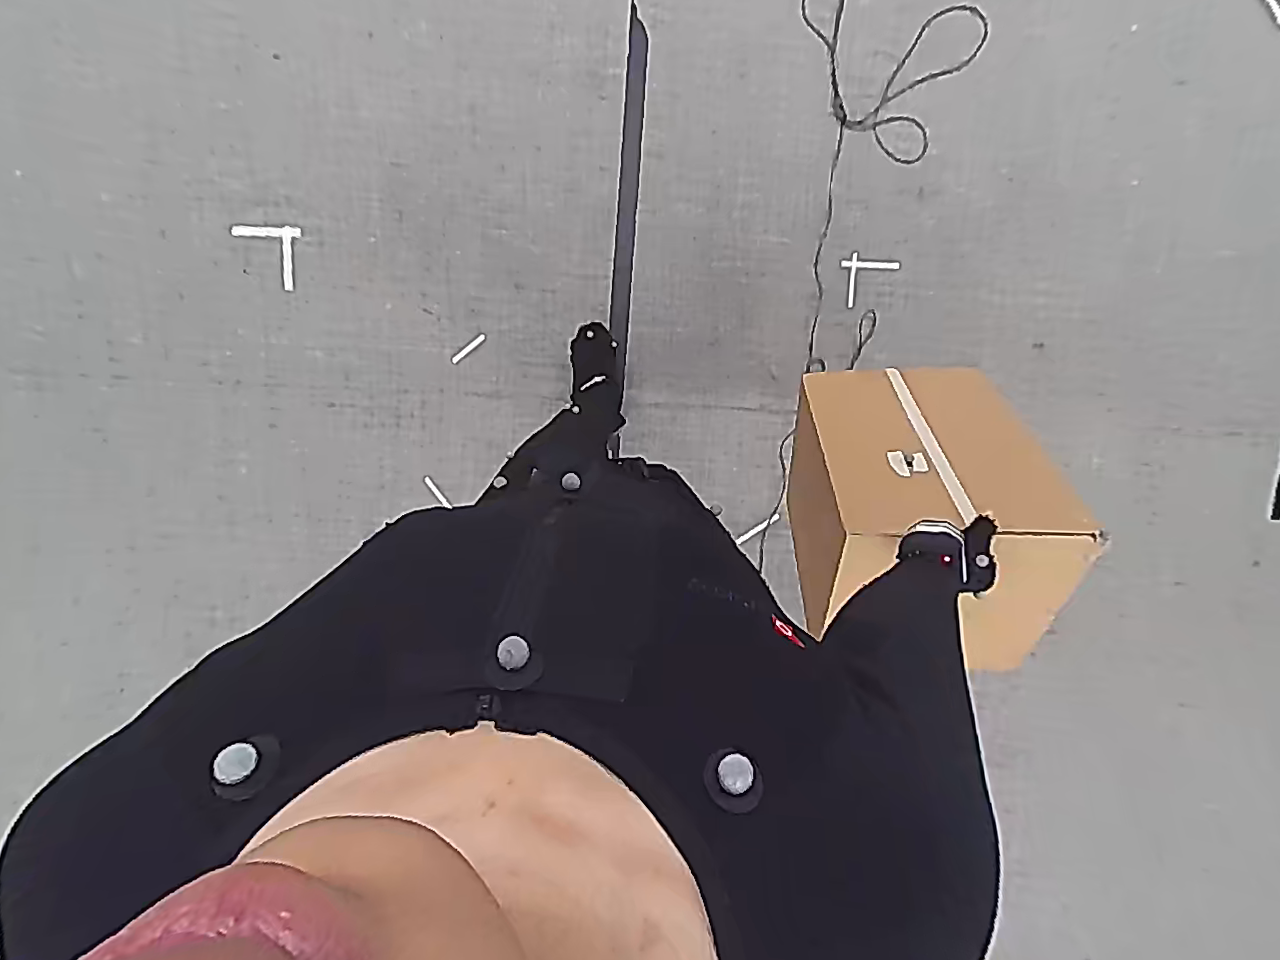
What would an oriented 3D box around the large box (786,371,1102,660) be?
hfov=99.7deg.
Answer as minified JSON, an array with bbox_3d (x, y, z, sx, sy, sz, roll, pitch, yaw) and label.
[{"bbox_3d":[0.451,0.050,0.935,0.320,0.408,0.320,-1,132,6],"label":"large box"}]
